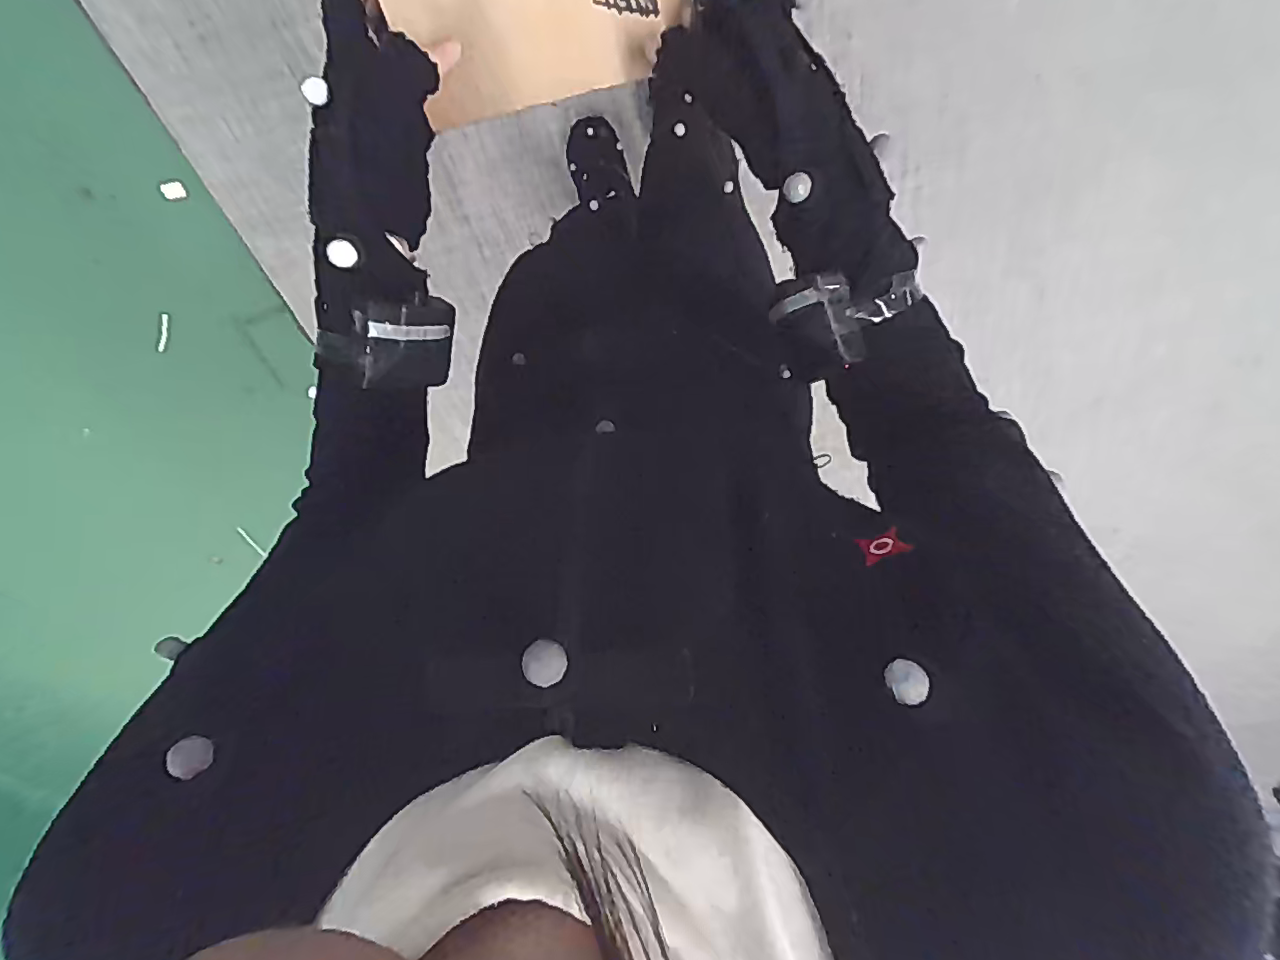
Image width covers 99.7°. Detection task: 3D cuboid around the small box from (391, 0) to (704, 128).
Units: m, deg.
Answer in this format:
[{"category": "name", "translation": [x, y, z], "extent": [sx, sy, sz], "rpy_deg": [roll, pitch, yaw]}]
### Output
[{"category": "small box", "translation": [-0.067, -0.355, 0.341], "extent": [0.179, 0.176, 0.168], "rpy_deg": [-12, 135, 4]}]
